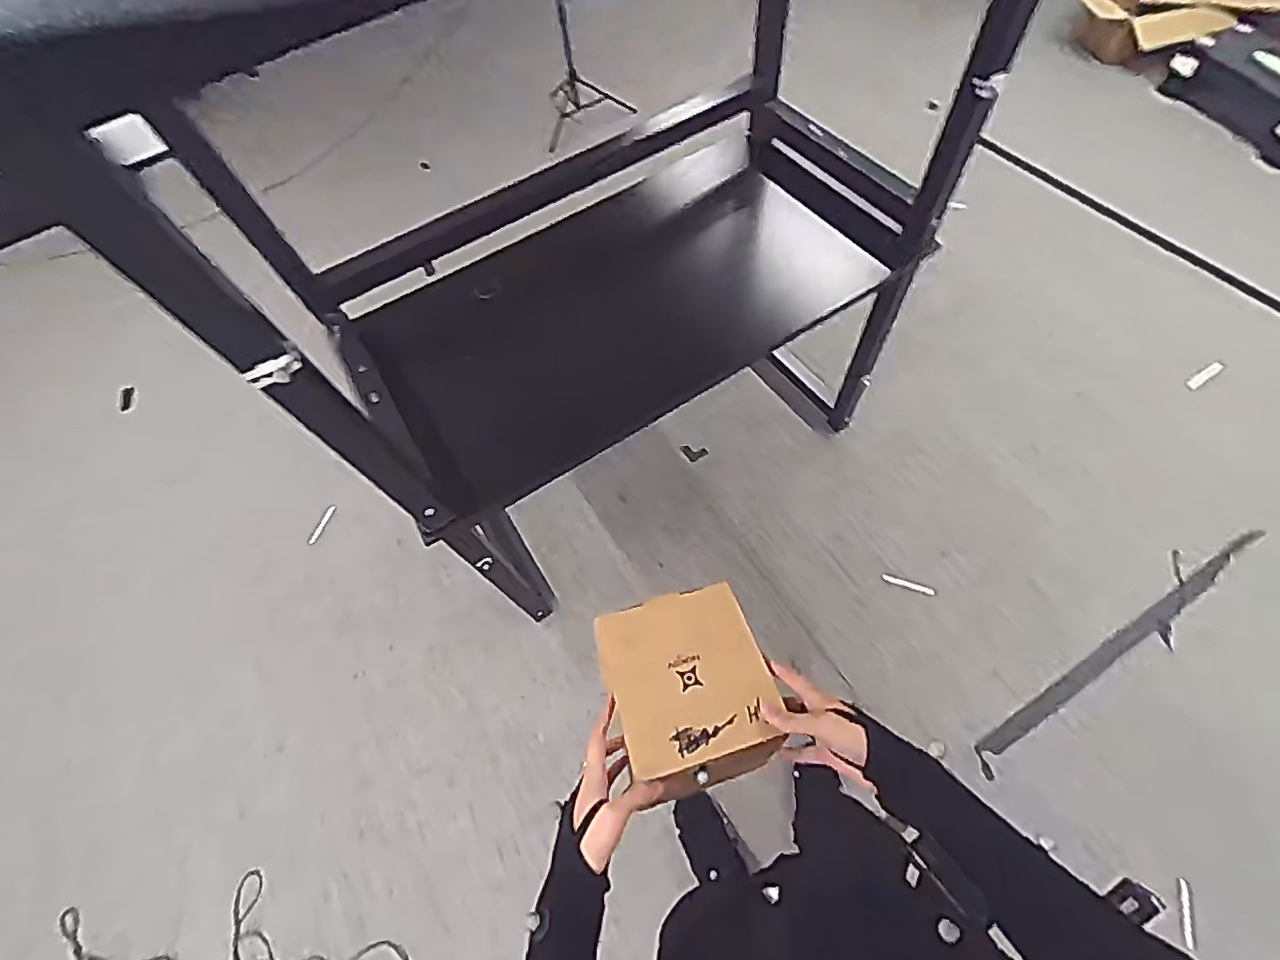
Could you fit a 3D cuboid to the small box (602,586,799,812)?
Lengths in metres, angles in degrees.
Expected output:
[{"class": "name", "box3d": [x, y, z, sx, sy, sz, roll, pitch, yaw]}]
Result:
[{"class": "small box", "box3d": [0.054, 0.254, 0.627, 0.168, 0.176, 0.179, -13, 52, -11]}]
